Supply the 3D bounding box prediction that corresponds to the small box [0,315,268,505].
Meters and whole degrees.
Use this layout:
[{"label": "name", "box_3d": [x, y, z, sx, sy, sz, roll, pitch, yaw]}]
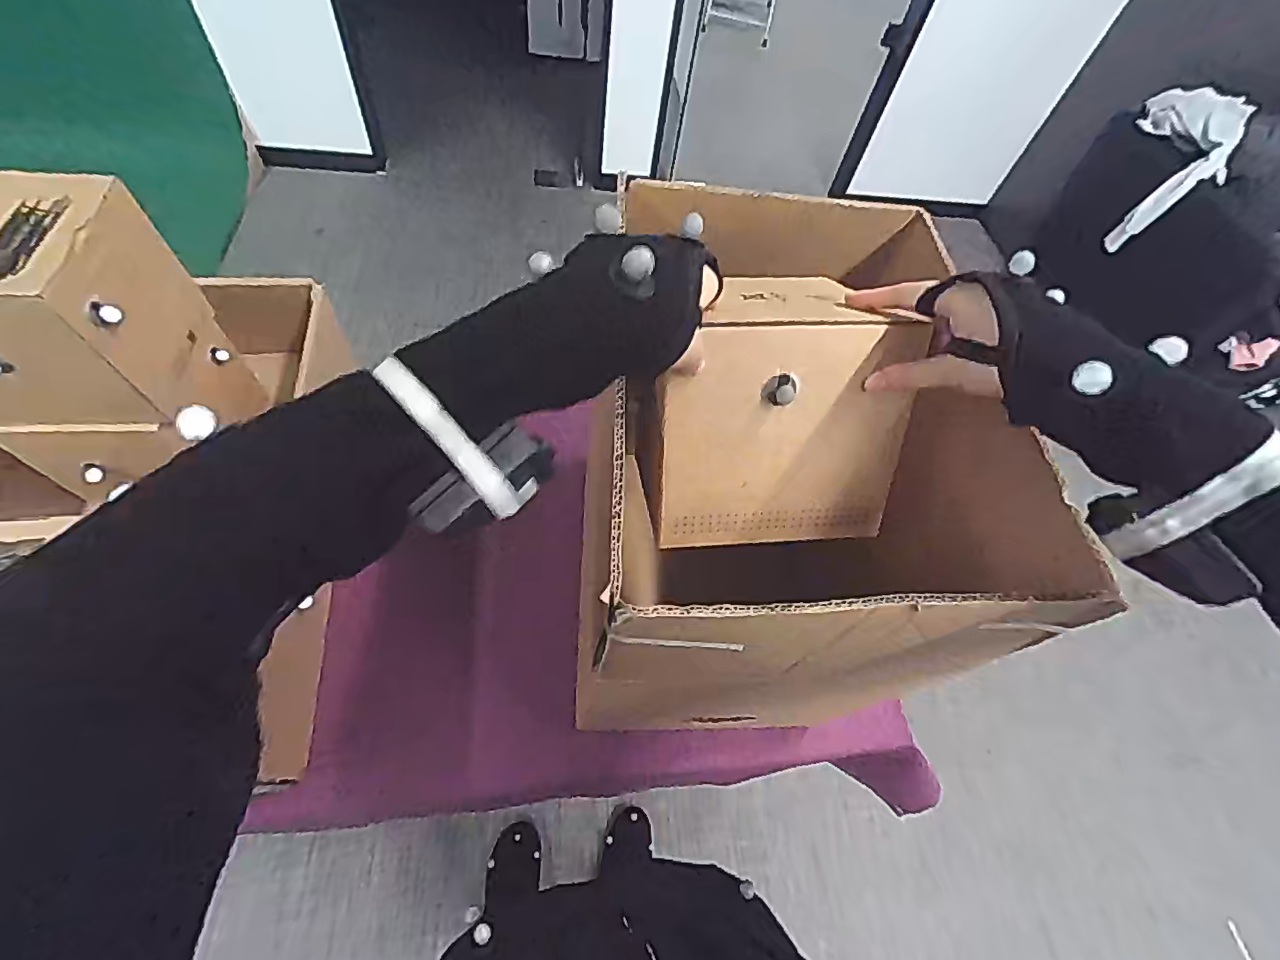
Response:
[{"label": "small box", "box_3d": [-0.597, -0.078, 0.663, 0.168, 0.176, 0.179, -1, 59, -8]}]
